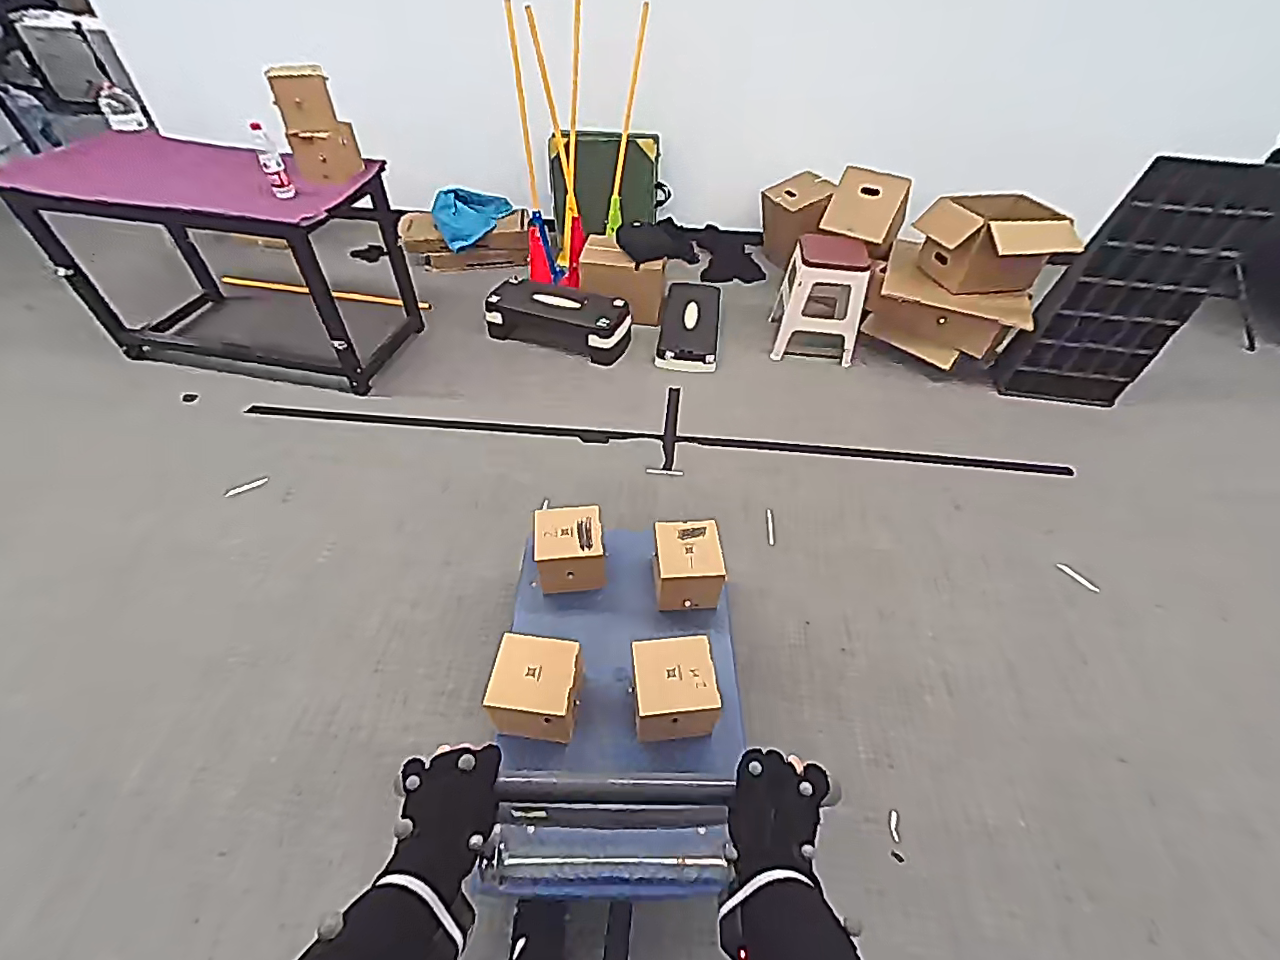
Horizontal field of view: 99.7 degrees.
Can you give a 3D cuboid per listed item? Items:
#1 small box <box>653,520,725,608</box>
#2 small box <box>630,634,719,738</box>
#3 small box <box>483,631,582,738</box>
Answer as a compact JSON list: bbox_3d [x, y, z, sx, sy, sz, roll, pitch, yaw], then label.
[{"bbox_3d":[0.125,0.226,1.451,0.168,0.176,0.179,-2,48,-3],"label":"small box"},{"bbox_3d":[0.071,0.469,1.223,0.179,0.176,0.168,-3,48,-5],"label":"small box"},{"bbox_3d":[-0.233,0.463,1.218,0.179,0.176,0.168,7,47,2],"label":"small box"}]
